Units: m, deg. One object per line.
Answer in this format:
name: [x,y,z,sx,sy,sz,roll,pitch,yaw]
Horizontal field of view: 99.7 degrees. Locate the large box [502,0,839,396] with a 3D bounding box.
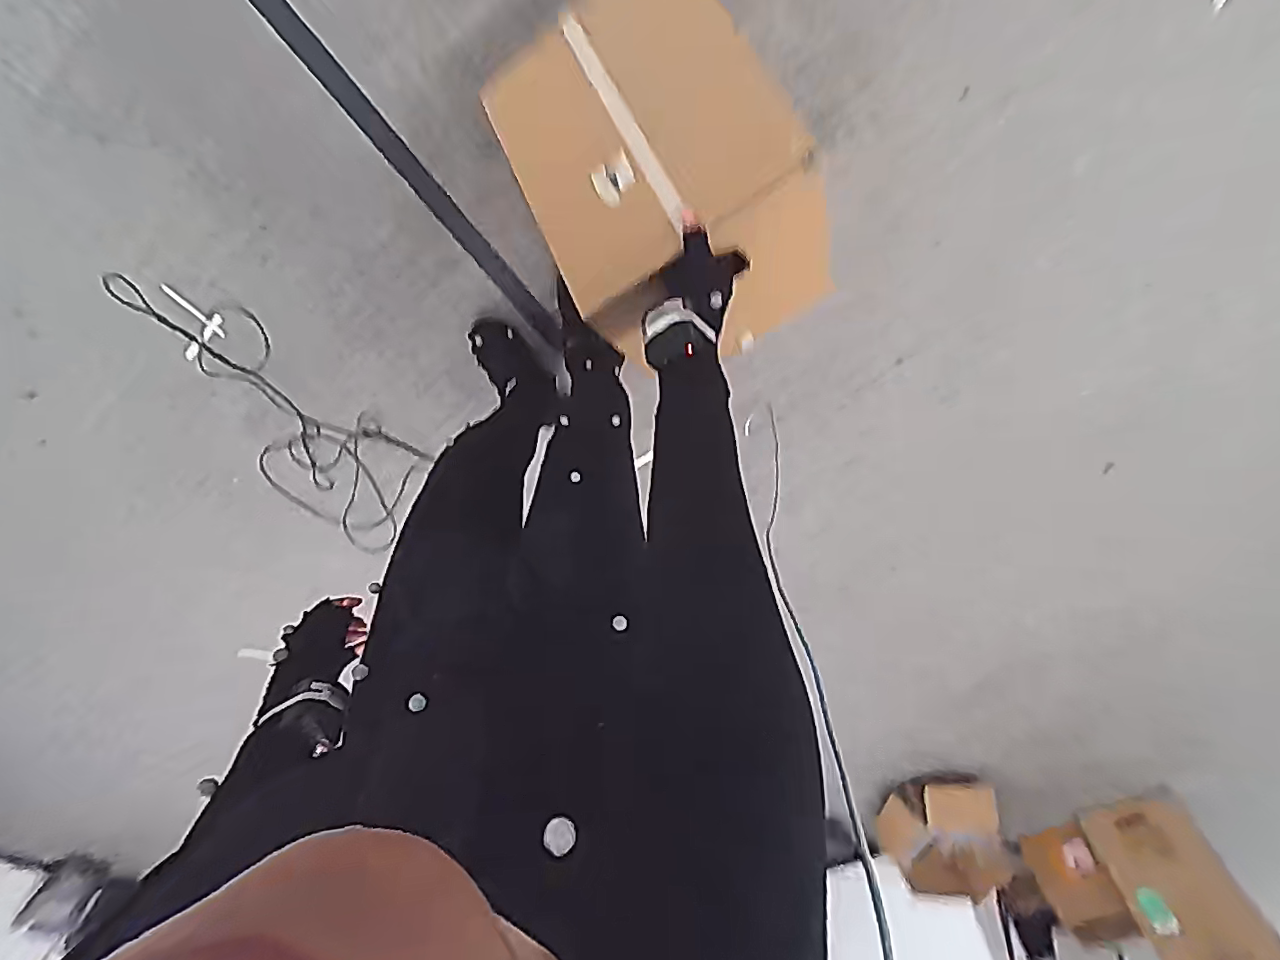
large box: [0.060,-0.404,0.819,0.320,0.408,0.320,-30,163,16]
